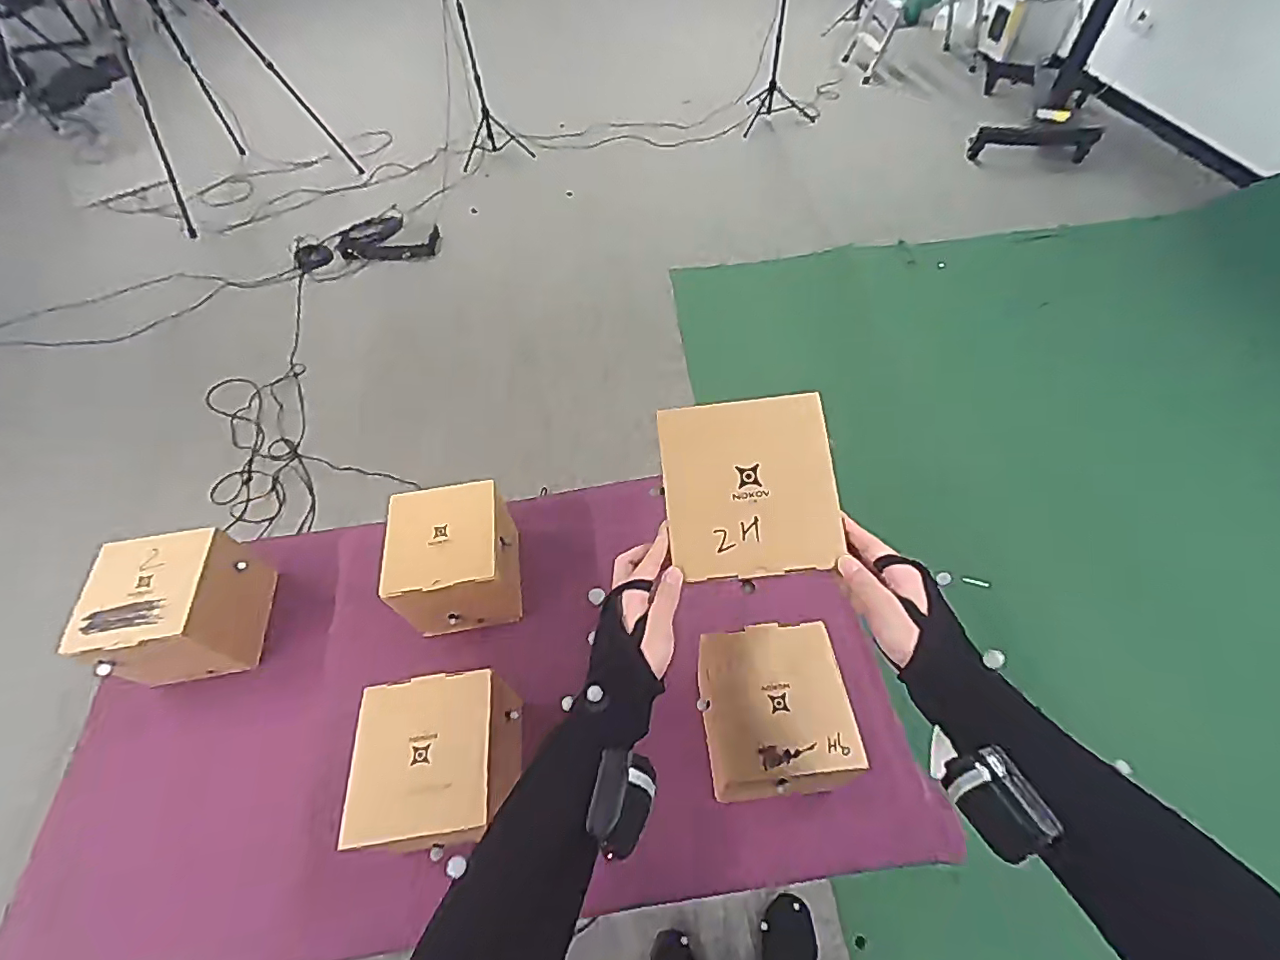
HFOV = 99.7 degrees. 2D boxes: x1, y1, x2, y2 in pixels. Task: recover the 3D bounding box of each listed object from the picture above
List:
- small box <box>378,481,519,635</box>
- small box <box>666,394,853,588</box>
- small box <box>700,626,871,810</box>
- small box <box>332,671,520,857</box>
[{"bbox_3d":[-0.293,0.127,0.864,0.168,0.176,0.179,-8,55,-4],"label":"small box"},{"bbox_3d":[0.117,0.023,0.599,0.168,0.176,0.179,-5,77,4],"label":"small box"},{"bbox_3d":[0.172,0.312,0.707,0.168,0.176,0.179,-6,52,0],"label":"small box"},{"bbox_3d":[-0.254,0.366,0.692,0.168,0.176,0.179,-7,54,-2],"label":"small box"}]
